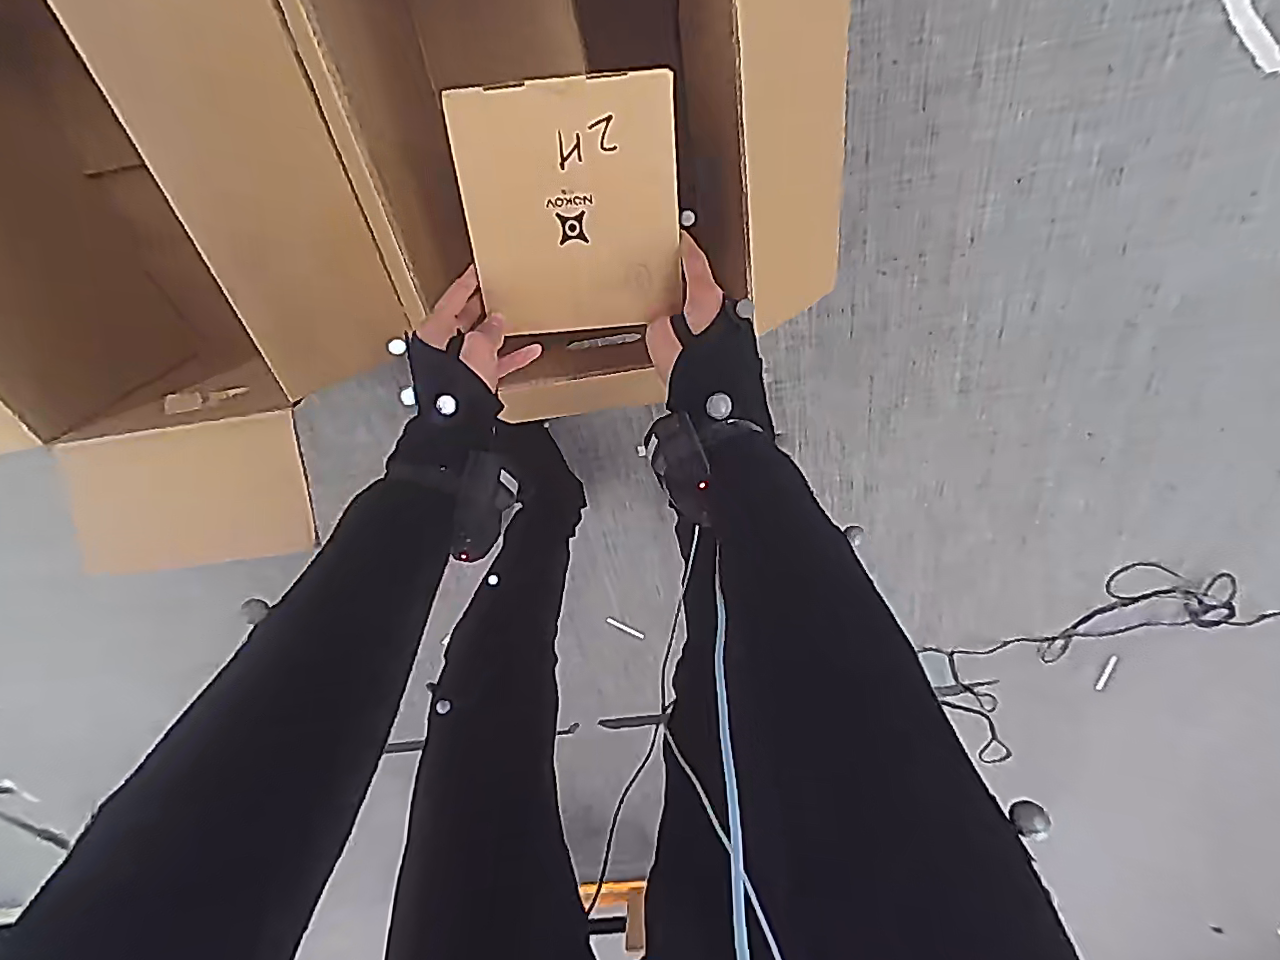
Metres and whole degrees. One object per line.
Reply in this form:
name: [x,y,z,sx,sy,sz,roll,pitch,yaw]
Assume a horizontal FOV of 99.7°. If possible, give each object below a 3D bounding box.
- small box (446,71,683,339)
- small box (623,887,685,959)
small box: [-0.049,-0.236,0.484,0.168,0.176,0.179,-4,117,2]
small box: [0.048,1.493,1.817,0.179,0.176,0.168,-9,125,9]
